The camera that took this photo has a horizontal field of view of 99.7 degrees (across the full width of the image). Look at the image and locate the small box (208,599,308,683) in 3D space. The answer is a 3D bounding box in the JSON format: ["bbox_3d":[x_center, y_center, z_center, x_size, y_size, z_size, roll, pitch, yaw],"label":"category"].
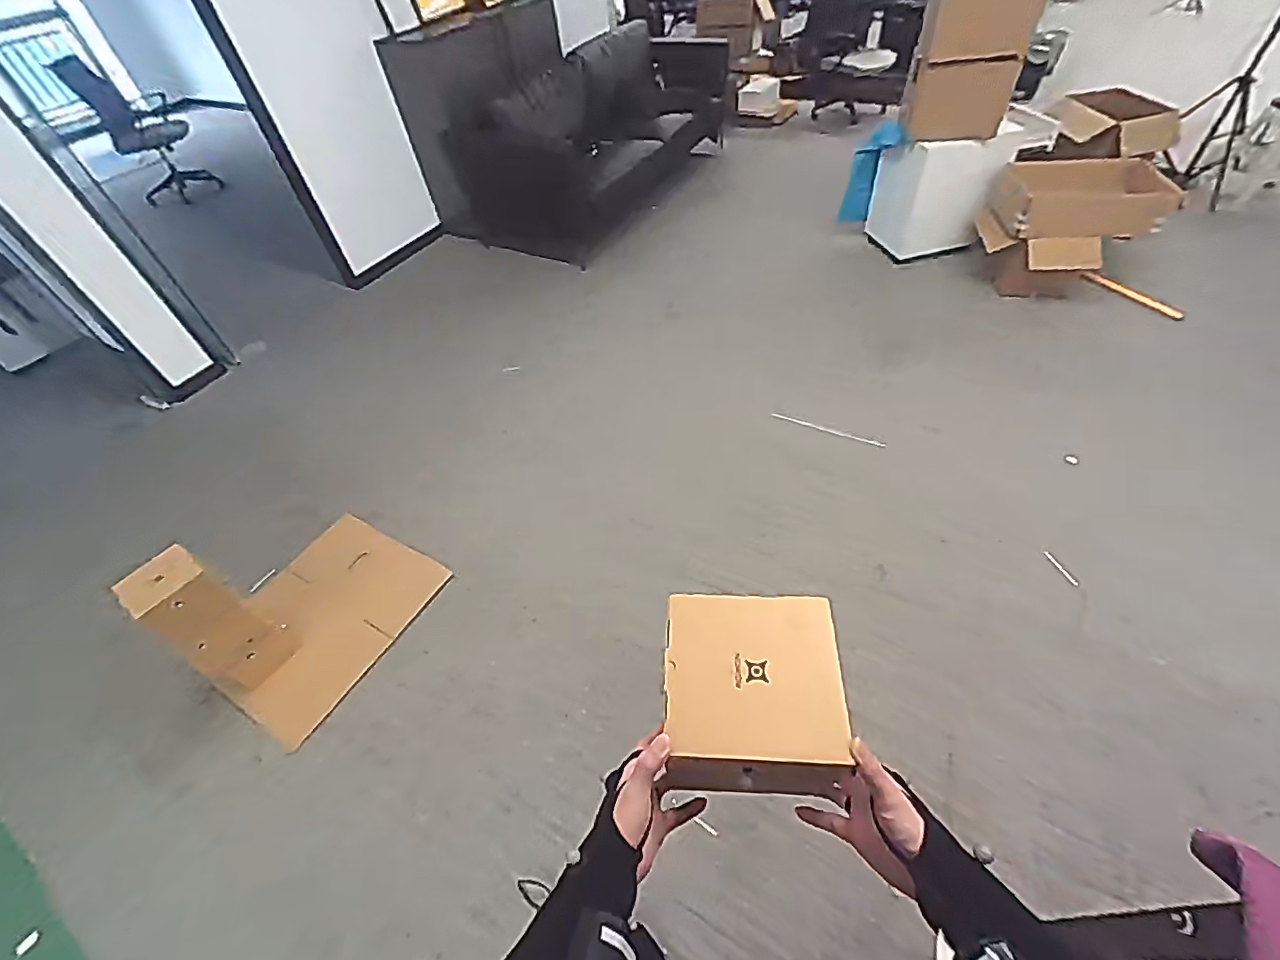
[{"bbox_3d":[-1.239,0.530,1.765,0.168,0.176,0.179,25,56,26],"label":"small box"}]

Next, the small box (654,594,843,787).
[{"bbox_3d":[0.112,0.240,0.611,0.179,0.176,0.168,-2,53,7],"label":"small box"}]

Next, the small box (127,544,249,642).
[{"bbox_3d":[-1.257,0.320,1.513,0.168,0.176,0.179,28,58,27],"label":"small box"}]
